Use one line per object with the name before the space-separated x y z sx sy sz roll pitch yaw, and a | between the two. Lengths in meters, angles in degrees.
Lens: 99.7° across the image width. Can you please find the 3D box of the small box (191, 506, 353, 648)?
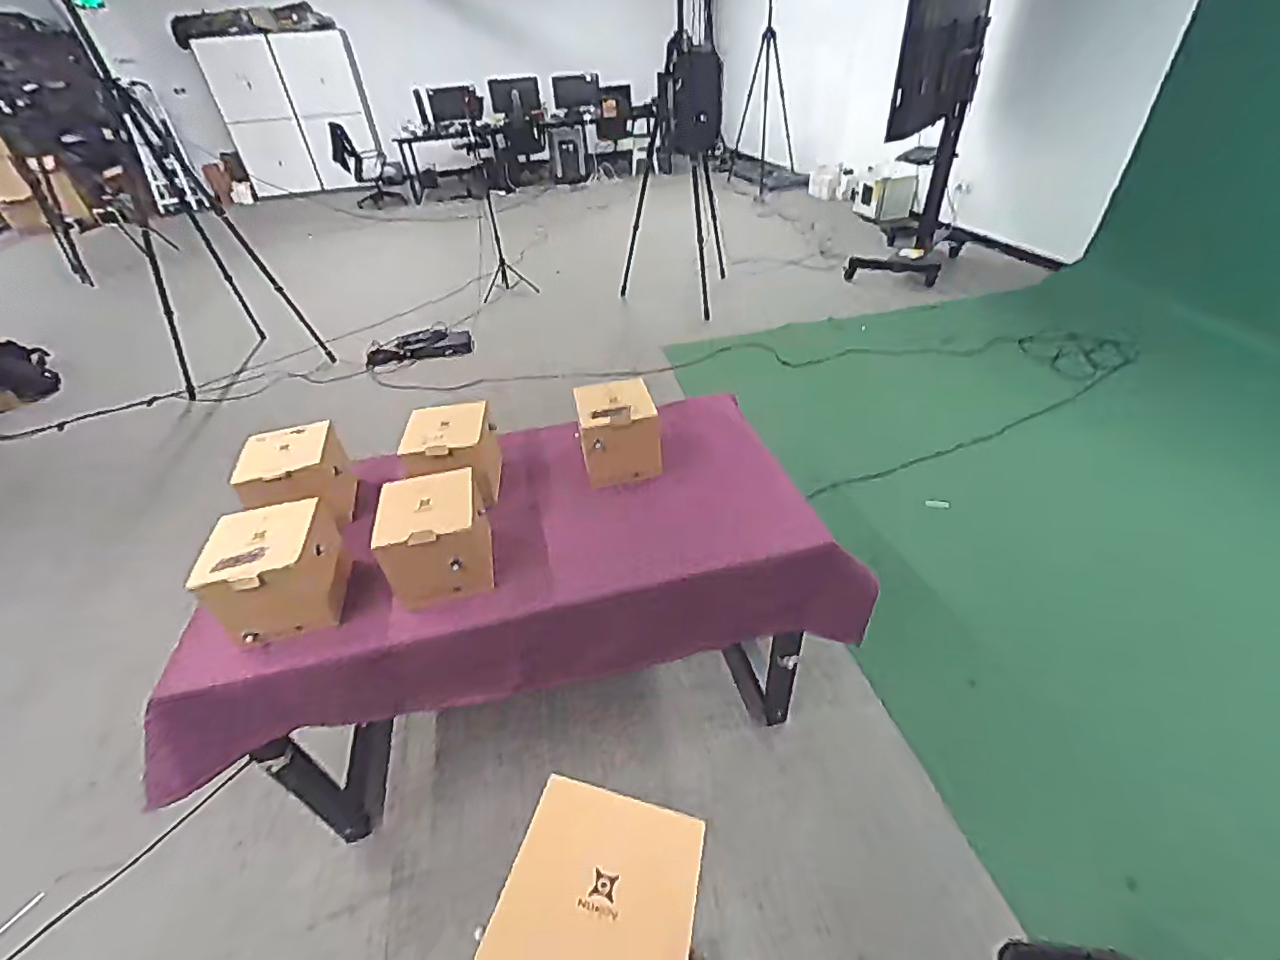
small box | -0.638 0.178 0.966 0.168 0.176 0.179 -12 38 -10

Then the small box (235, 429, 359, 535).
small box | -0.730 0.019 1.176 0.168 0.176 0.179 -14 40 -12

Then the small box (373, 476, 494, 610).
small box | -0.373 0.121 1.010 0.168 0.176 0.179 -11 38 -9

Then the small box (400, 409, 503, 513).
small box | -0.410 -0.037 1.210 0.168 0.176 0.179 -8 39 -3

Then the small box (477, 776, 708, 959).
small box | -0.042 0.433 0.513 0.168 0.176 0.179 13 29 9
